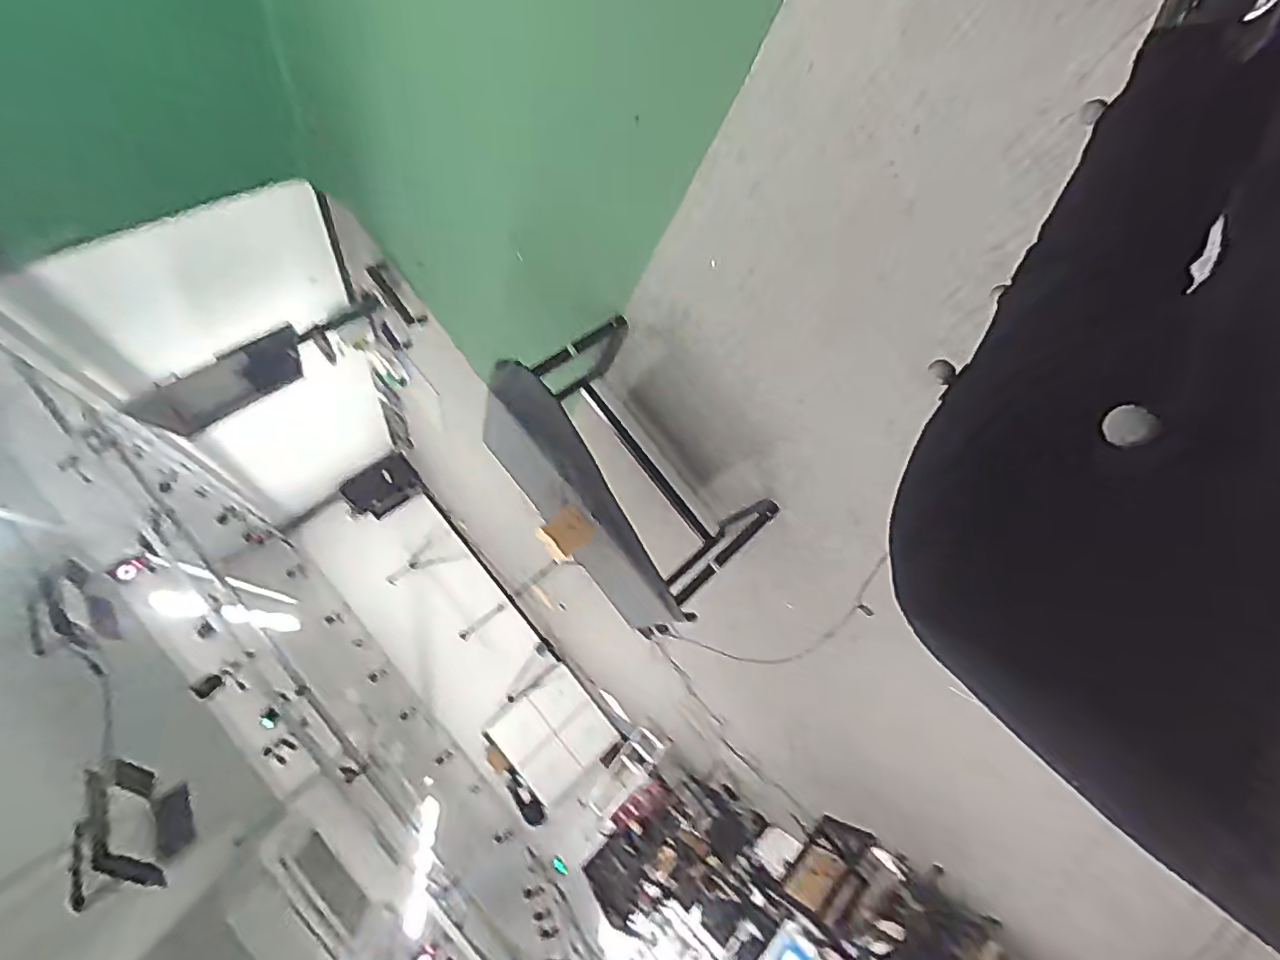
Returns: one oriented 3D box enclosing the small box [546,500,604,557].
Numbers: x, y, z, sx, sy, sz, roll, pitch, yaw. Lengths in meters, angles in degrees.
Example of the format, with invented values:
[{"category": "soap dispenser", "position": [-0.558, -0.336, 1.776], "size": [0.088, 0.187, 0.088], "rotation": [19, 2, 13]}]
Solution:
[{"category": "small box", "position": [-0.274, 0.205, 2.305], "size": [0.168, 0.176, 0.179], "rotation": [51, 156, 1]}]
